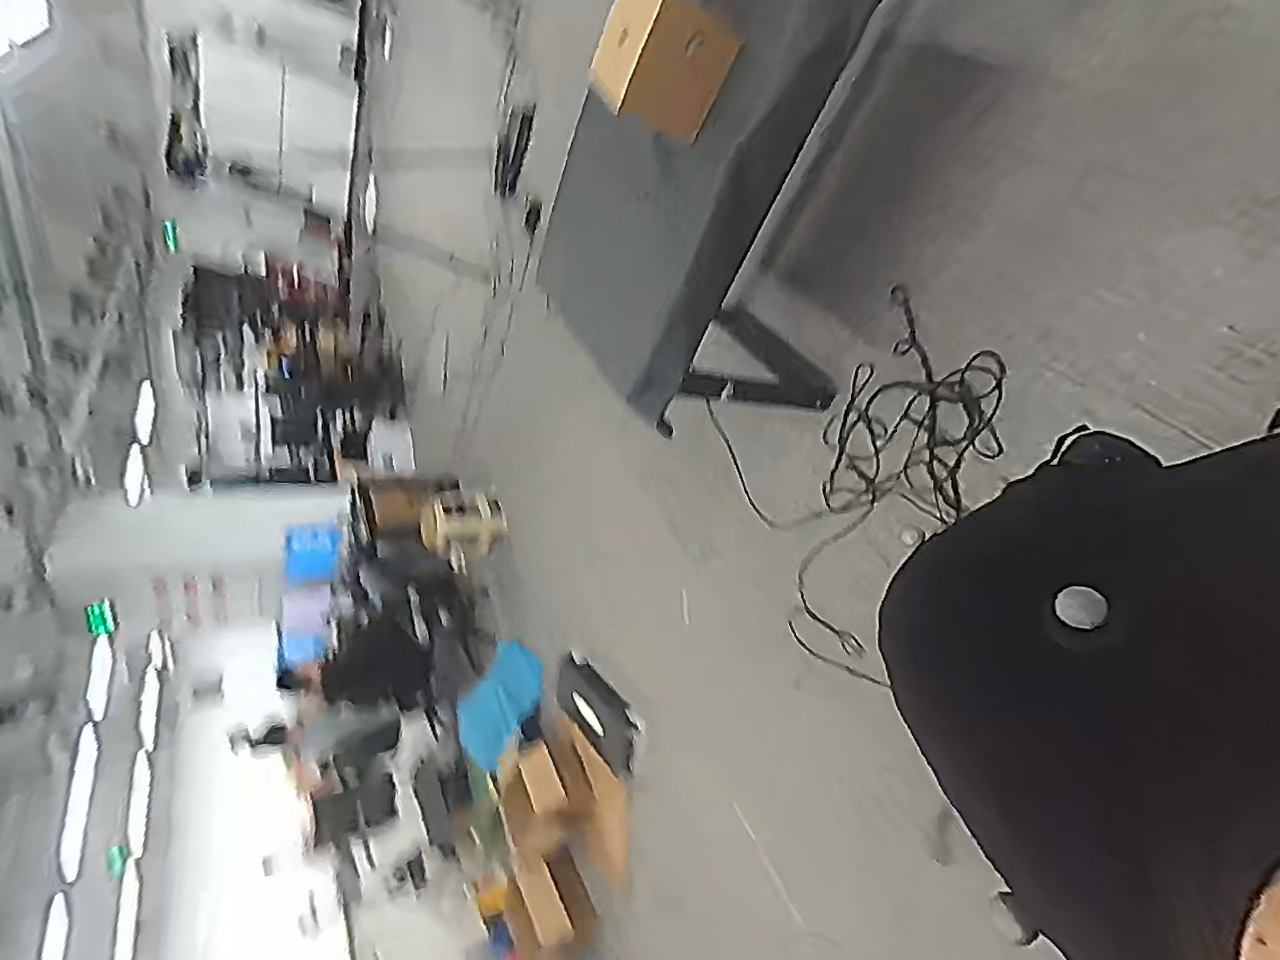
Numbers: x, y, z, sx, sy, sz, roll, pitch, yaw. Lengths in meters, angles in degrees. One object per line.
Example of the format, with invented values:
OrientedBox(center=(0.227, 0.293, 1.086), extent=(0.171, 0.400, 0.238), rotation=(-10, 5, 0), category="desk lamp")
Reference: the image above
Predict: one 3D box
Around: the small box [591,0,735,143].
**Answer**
OrientedBox(center=(0.043, -0.740, 0.952), extent=(0.179, 0.176, 0.168), rotation=(-57, 47, 39), category="small box")
